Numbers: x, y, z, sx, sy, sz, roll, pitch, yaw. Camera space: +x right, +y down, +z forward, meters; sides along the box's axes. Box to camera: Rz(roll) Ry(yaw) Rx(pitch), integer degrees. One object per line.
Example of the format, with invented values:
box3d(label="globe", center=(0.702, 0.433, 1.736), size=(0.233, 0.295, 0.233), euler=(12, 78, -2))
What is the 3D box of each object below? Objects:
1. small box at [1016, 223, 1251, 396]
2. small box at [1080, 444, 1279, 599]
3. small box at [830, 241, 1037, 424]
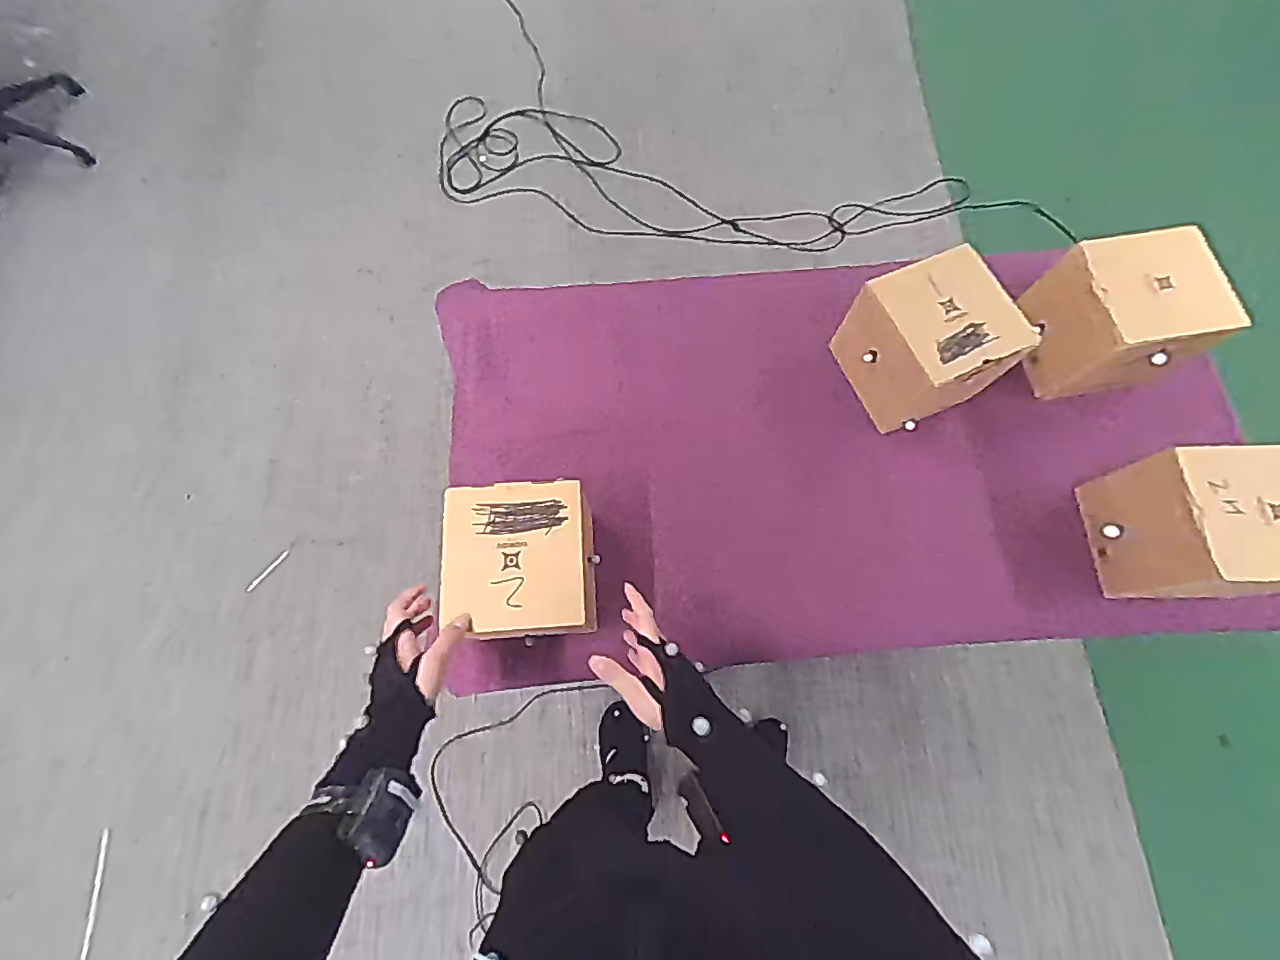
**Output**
box3d(label="small box", center=(0.697, -0.241, 0.795), size=(0.179, 0.176, 0.168), euler=(-10, 73, 0))
box3d(label="small box", center=(0.731, 0.060, 0.697), size=(0.179, 0.176, 0.168), euler=(-1, 71, 2))
box3d(label="small box", center=(0.409, -0.200, 0.788), size=(0.168, 0.176, 0.179), euler=(-22, 73, -6))
